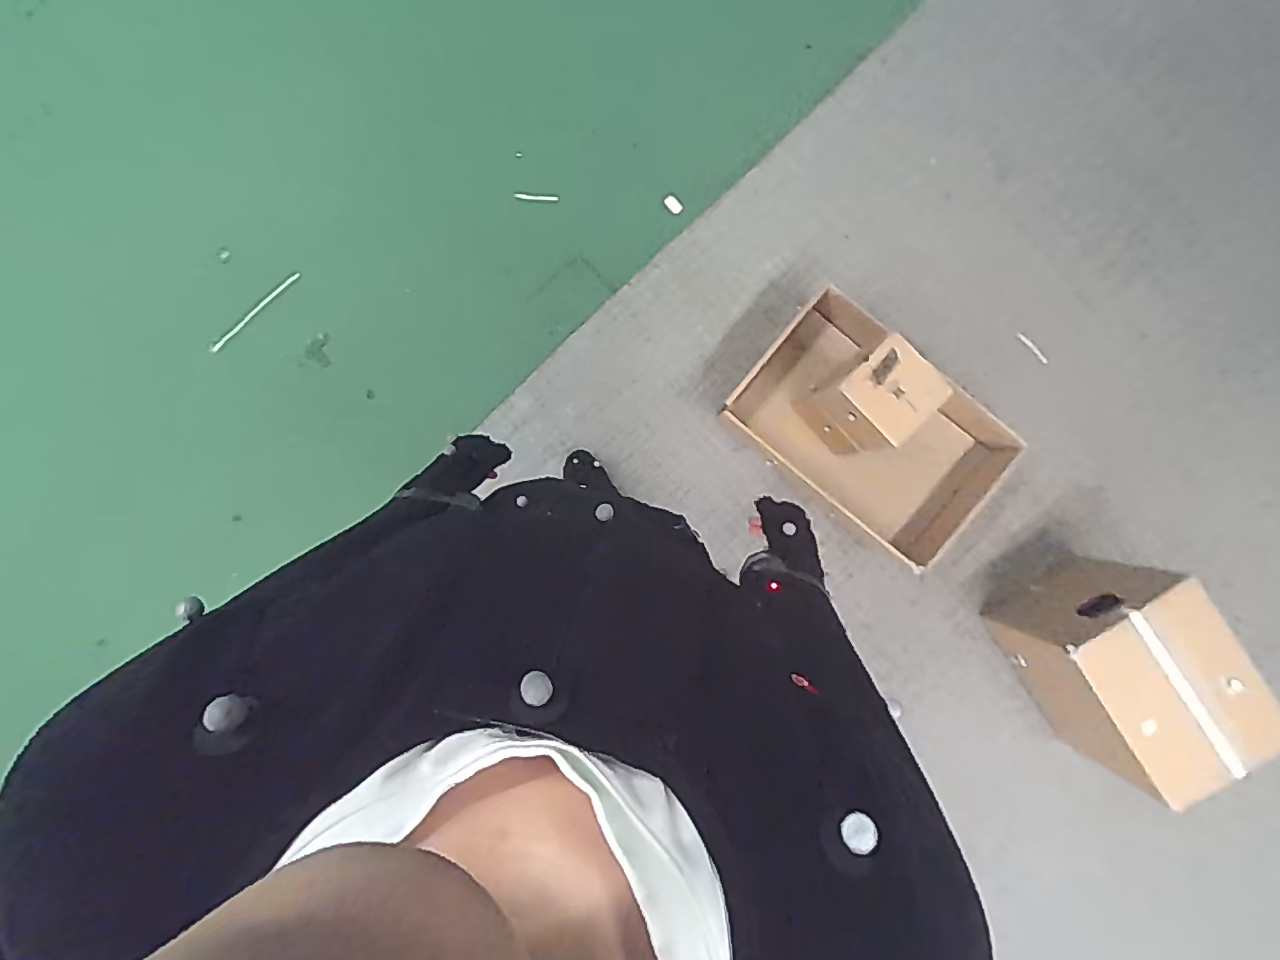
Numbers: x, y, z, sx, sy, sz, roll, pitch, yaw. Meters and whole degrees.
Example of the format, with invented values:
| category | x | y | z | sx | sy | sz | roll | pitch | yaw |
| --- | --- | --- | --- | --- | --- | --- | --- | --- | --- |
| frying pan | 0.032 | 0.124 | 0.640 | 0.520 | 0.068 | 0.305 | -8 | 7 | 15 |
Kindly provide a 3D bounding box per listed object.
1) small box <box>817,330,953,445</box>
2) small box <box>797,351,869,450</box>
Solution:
| category | x | y | z | sx | sy | sz | roll | pitch | yaw |
| --- | --- | --- | --- | --- | --- | --- | --- | --- | --- |
| small box | 0.516 | -0.188 | 1.170 | 0.168 | 0.176 | 0.179 | -44 | 91 | 1 |
| small box | 0.518 | -0.186 | 1.334 | 0.168 | 0.176 | 0.179 | -43 | 92 | 1 |
